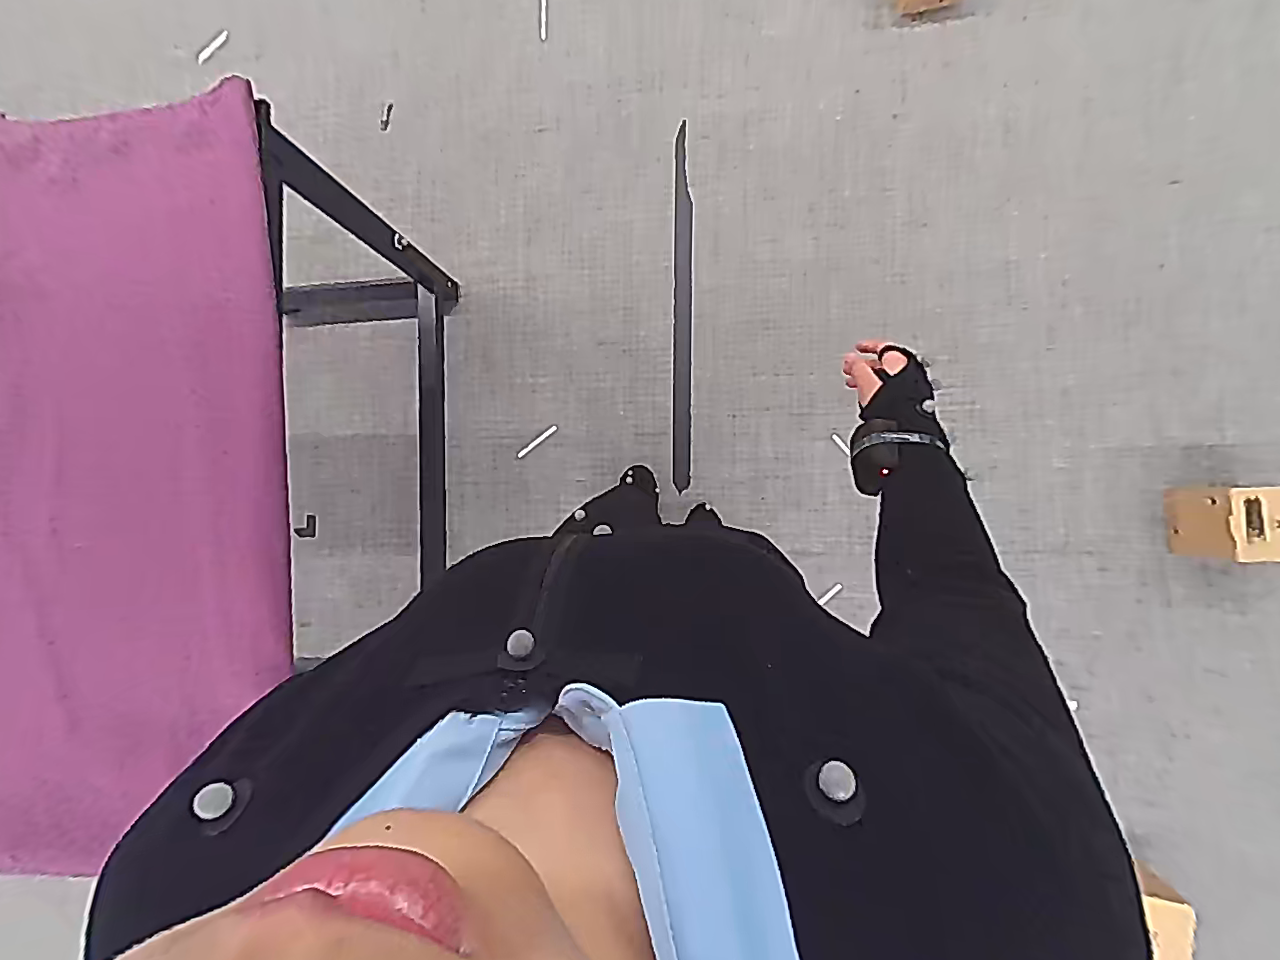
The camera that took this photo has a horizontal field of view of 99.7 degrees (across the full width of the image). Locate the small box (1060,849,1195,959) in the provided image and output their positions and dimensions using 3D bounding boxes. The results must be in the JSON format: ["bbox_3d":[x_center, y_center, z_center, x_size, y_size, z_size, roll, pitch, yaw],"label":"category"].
[{"bbox_3d":[1.123,1.008,1.259,0.168,0.176,0.179,9,89,8],"label":"small box"}]

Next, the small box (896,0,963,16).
[{"bbox_3d":[0.773,-1.358,1.402,0.168,0.176,0.179,-8,86,6],"label":"small box"}]
